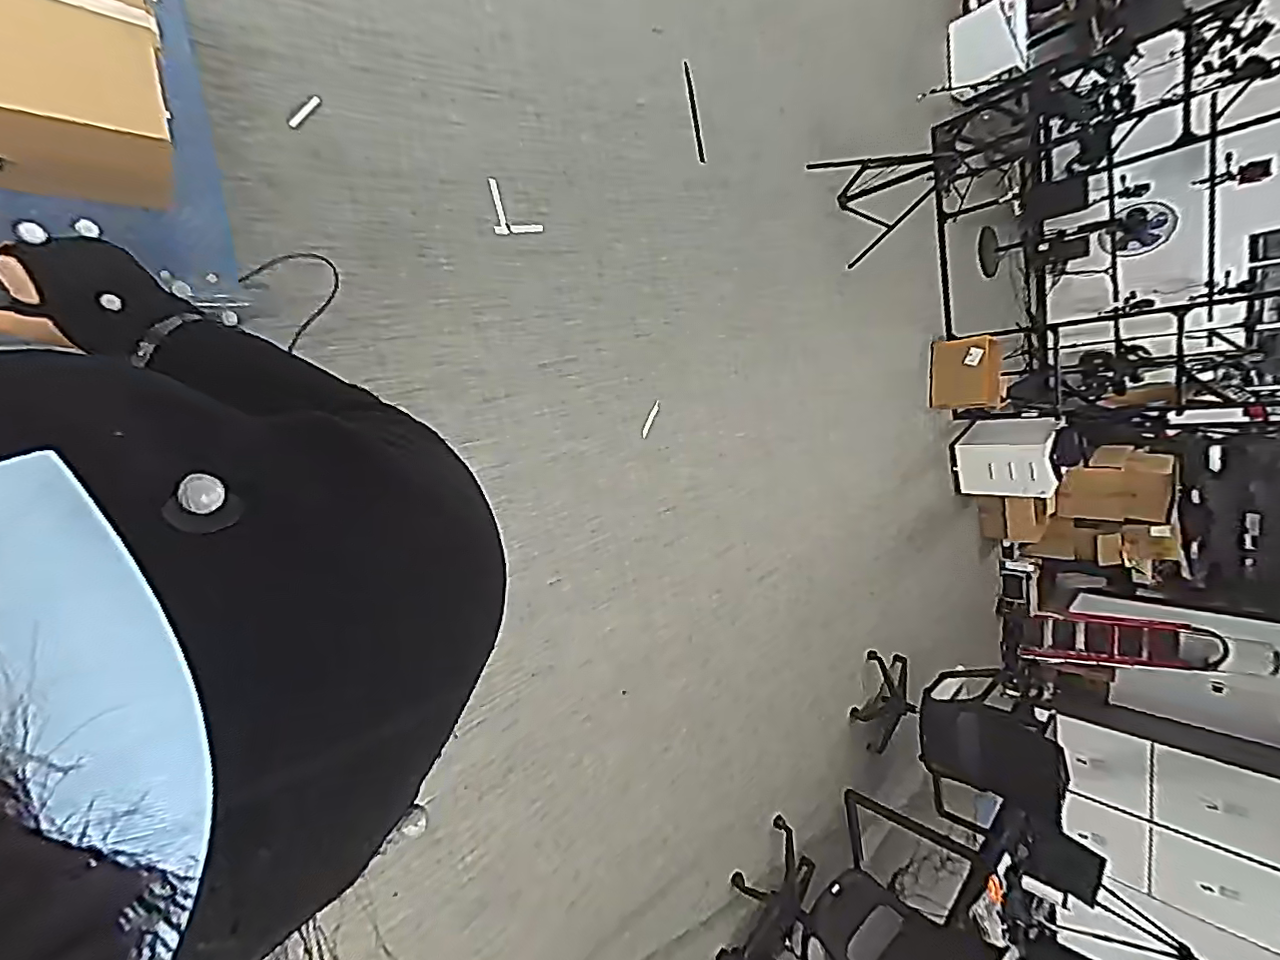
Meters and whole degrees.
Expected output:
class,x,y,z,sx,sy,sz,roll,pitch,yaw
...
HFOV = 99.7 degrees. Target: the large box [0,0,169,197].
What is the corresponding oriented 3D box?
class,x,y,z,sx,sy,sz,roll,pitch,yaw
large box,-0.956,-0.635,0.758,0.408,0.320,0.320,-12,99,-39
